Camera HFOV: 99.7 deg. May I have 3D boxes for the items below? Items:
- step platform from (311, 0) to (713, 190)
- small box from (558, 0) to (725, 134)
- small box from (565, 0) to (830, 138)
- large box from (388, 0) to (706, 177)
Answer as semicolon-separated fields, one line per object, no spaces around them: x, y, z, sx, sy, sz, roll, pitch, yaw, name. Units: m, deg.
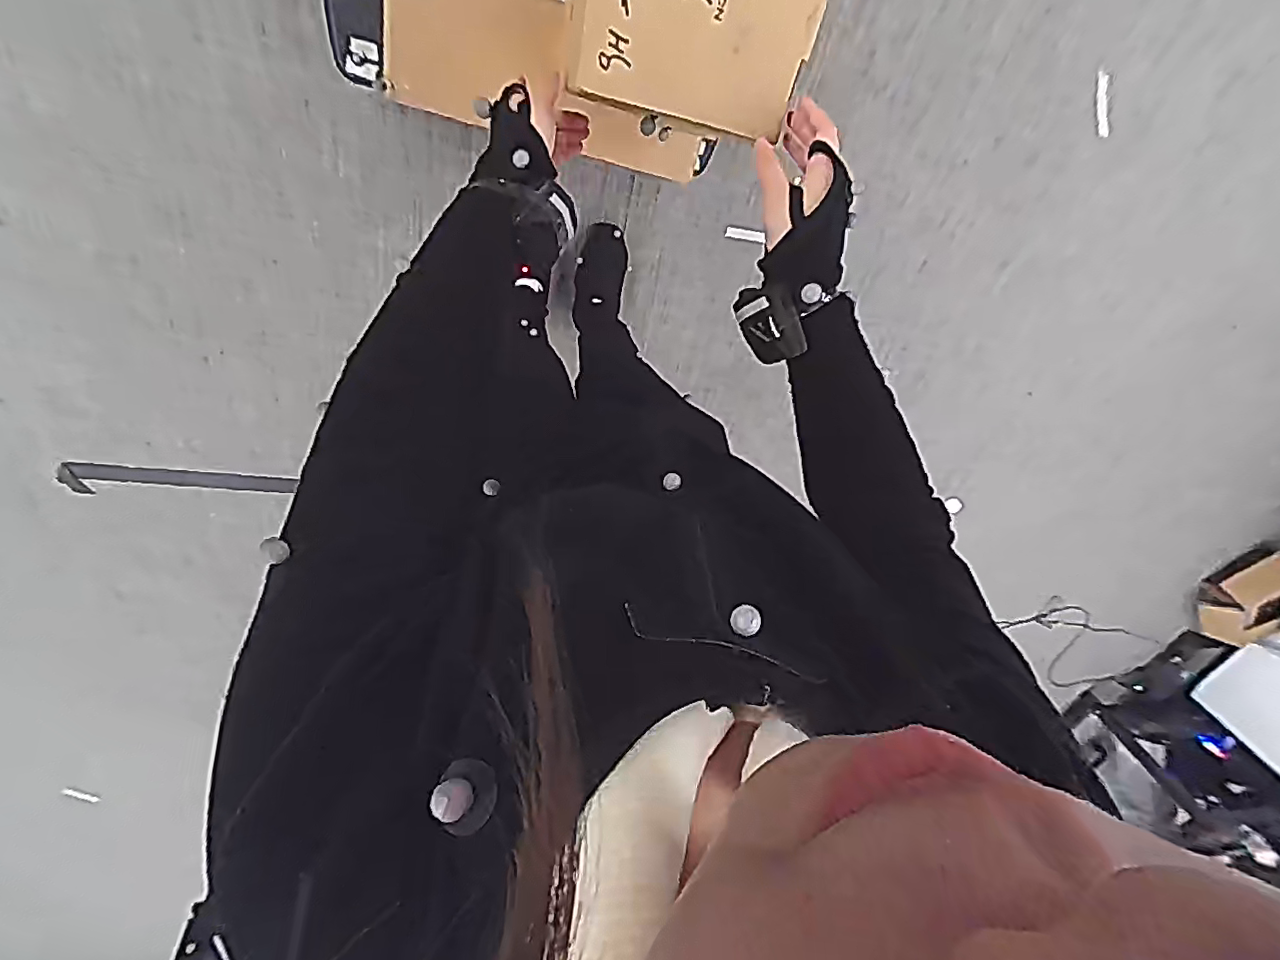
-0.178;-0.766;0.942;0.684;0.204;0.286;11;122;-19;step platform
0.015;-0.494;0.578;0.179;0.176;0.168;7;123;-16;small box
0.042;-0.403;0.445;0.179;0.176;0.168;5;123;-17;small box
-0.102;-0.650;0.746;0.408;0.320;0.320;6;122;-16;large box
